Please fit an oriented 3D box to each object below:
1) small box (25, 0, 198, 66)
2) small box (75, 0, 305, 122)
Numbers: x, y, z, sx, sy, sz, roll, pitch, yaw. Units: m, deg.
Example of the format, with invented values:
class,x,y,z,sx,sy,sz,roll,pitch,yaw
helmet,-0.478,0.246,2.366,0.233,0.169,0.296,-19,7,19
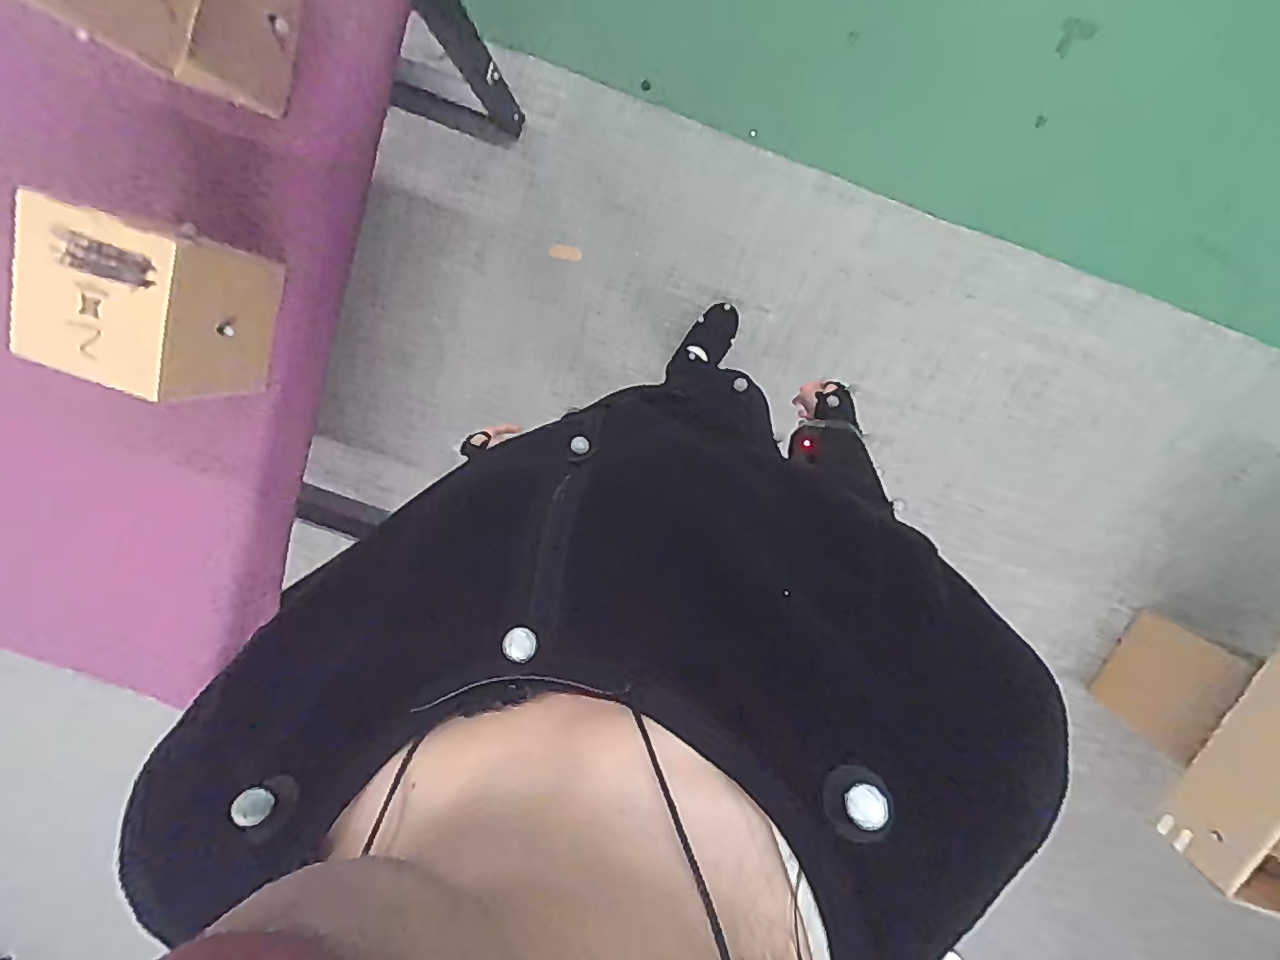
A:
class,x,y,z,sx,sy,sz,roll,pitch,yaw
small box,-0.484,-0.473,0.414,0.179,0.176,0.168,27,103,-5
small box,-0.492,-0.527,0.569,0.168,0.176,0.179,20,102,-1
